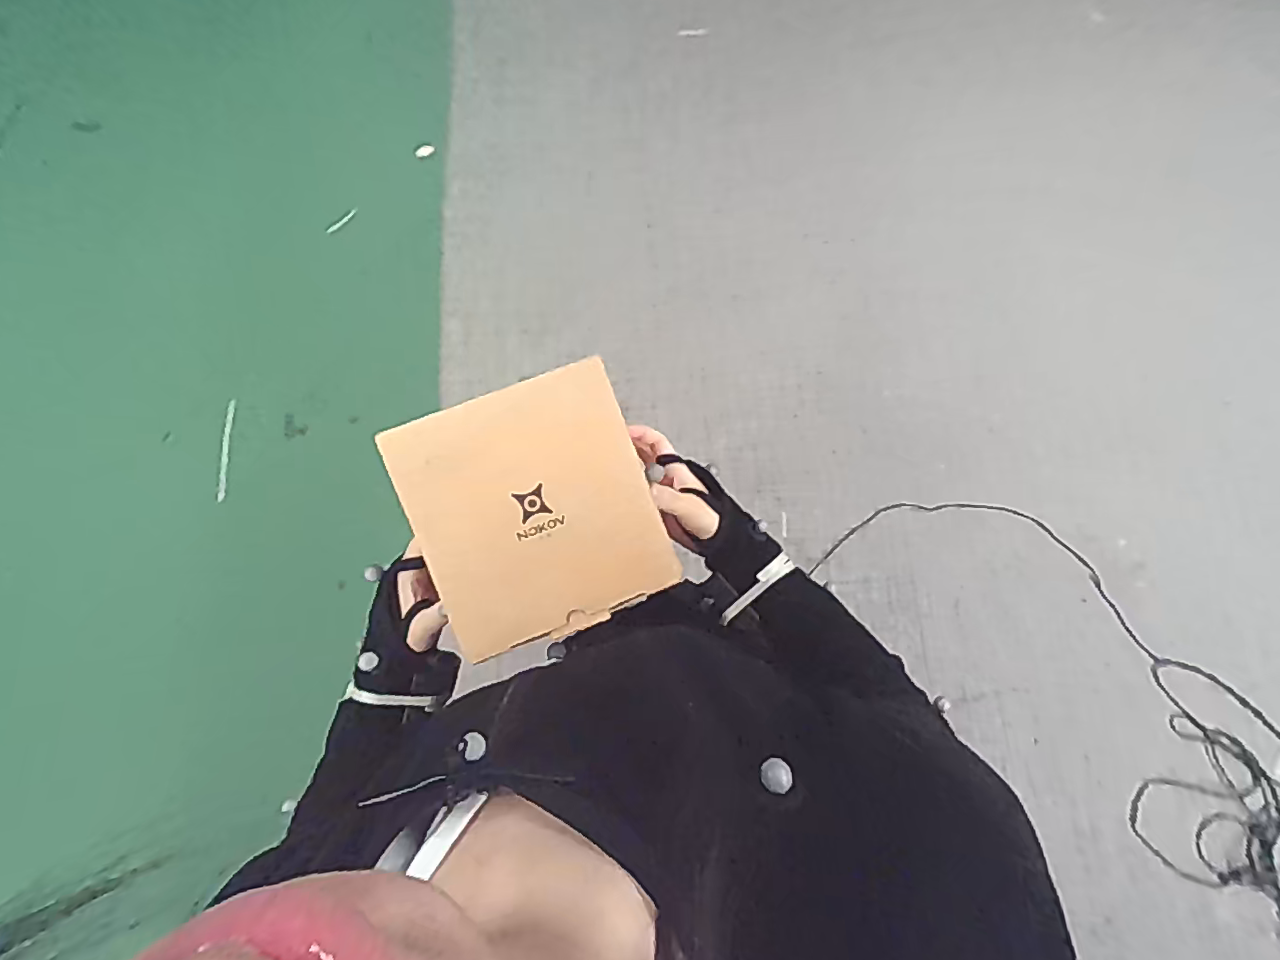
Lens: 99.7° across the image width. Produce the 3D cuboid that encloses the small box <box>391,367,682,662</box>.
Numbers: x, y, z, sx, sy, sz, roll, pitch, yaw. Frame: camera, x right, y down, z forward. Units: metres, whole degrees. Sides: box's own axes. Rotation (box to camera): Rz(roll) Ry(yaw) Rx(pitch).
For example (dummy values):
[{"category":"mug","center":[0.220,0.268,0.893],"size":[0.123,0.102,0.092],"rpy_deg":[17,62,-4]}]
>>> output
[{"category":"small box","center":[-0.080,0.021,0.468],"size":[0.168,0.176,0.179],"rpy_deg":[-20,96,-4]}]
